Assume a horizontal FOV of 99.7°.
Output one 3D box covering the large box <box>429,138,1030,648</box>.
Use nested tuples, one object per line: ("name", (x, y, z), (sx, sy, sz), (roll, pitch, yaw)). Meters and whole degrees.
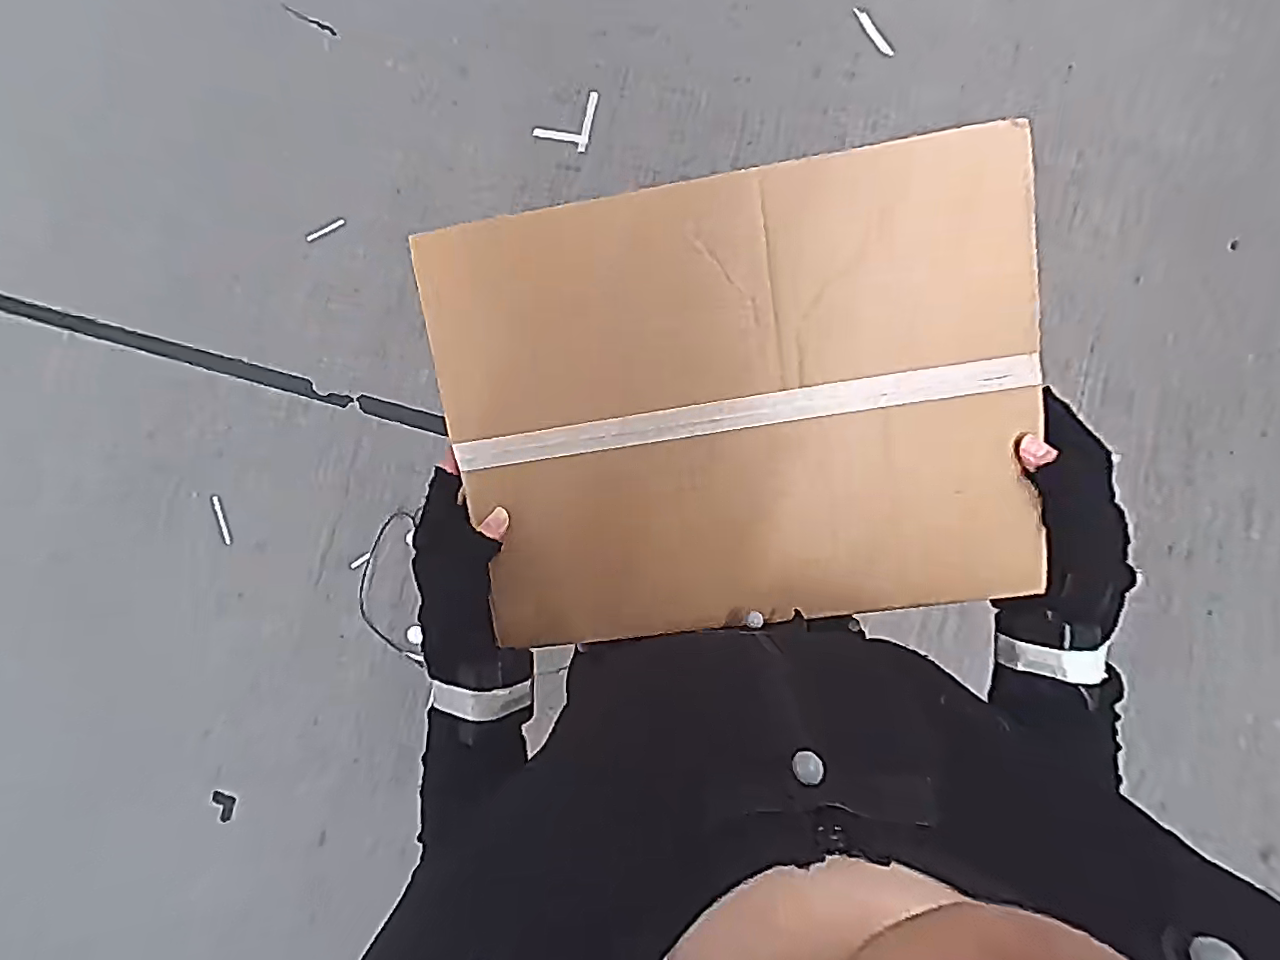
("large box", (0.075, -0.066, 0.536), (0.408, 0.320, 0.320), (-8, 100, 6))
